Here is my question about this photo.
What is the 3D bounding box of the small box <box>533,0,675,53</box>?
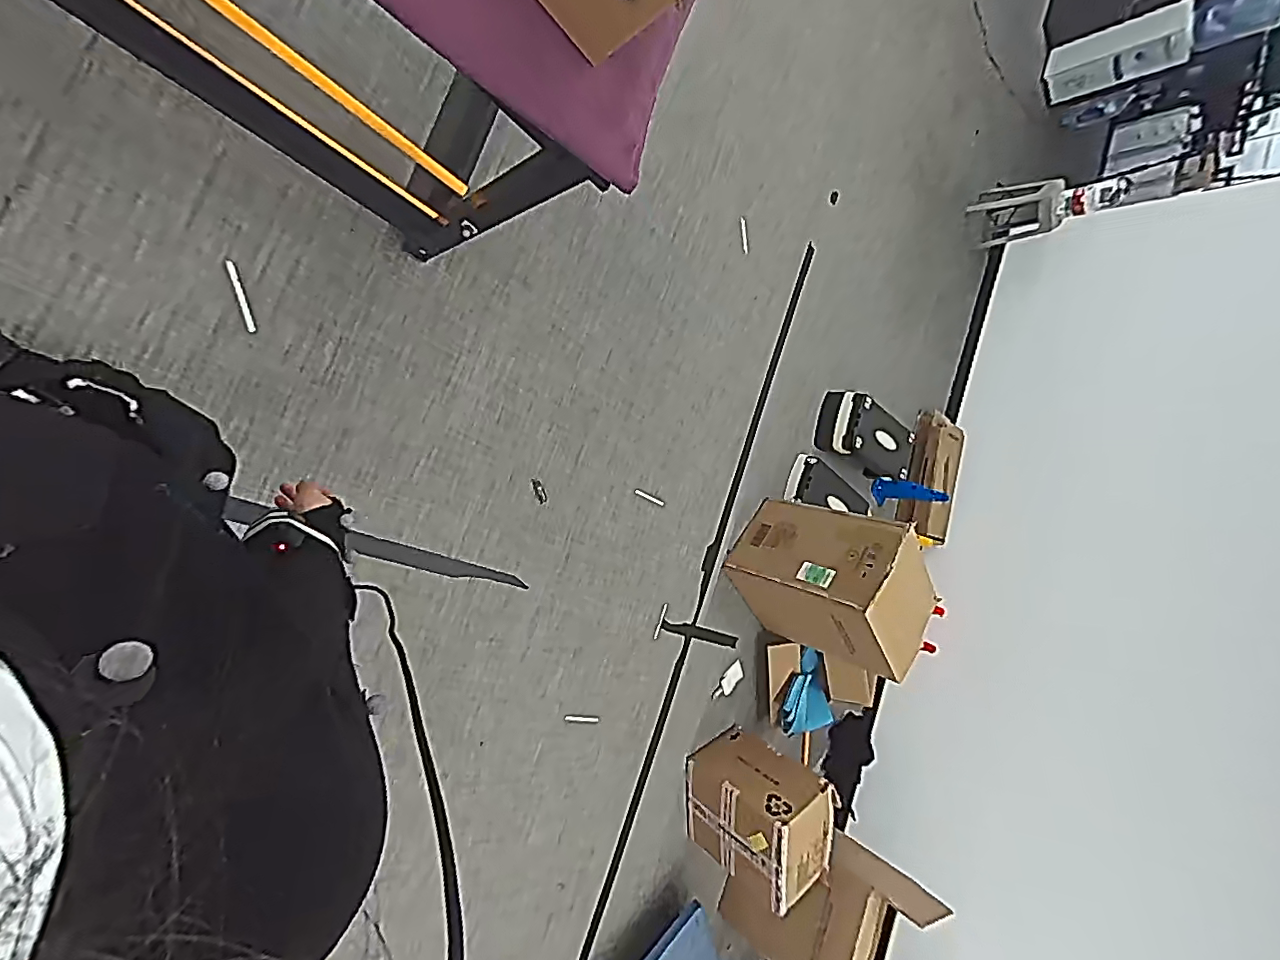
[{"bbox_3d":[-0.046,-0.664,0.647,0.179,0.176,0.168,29,76,-41],"label":"small box"}]
